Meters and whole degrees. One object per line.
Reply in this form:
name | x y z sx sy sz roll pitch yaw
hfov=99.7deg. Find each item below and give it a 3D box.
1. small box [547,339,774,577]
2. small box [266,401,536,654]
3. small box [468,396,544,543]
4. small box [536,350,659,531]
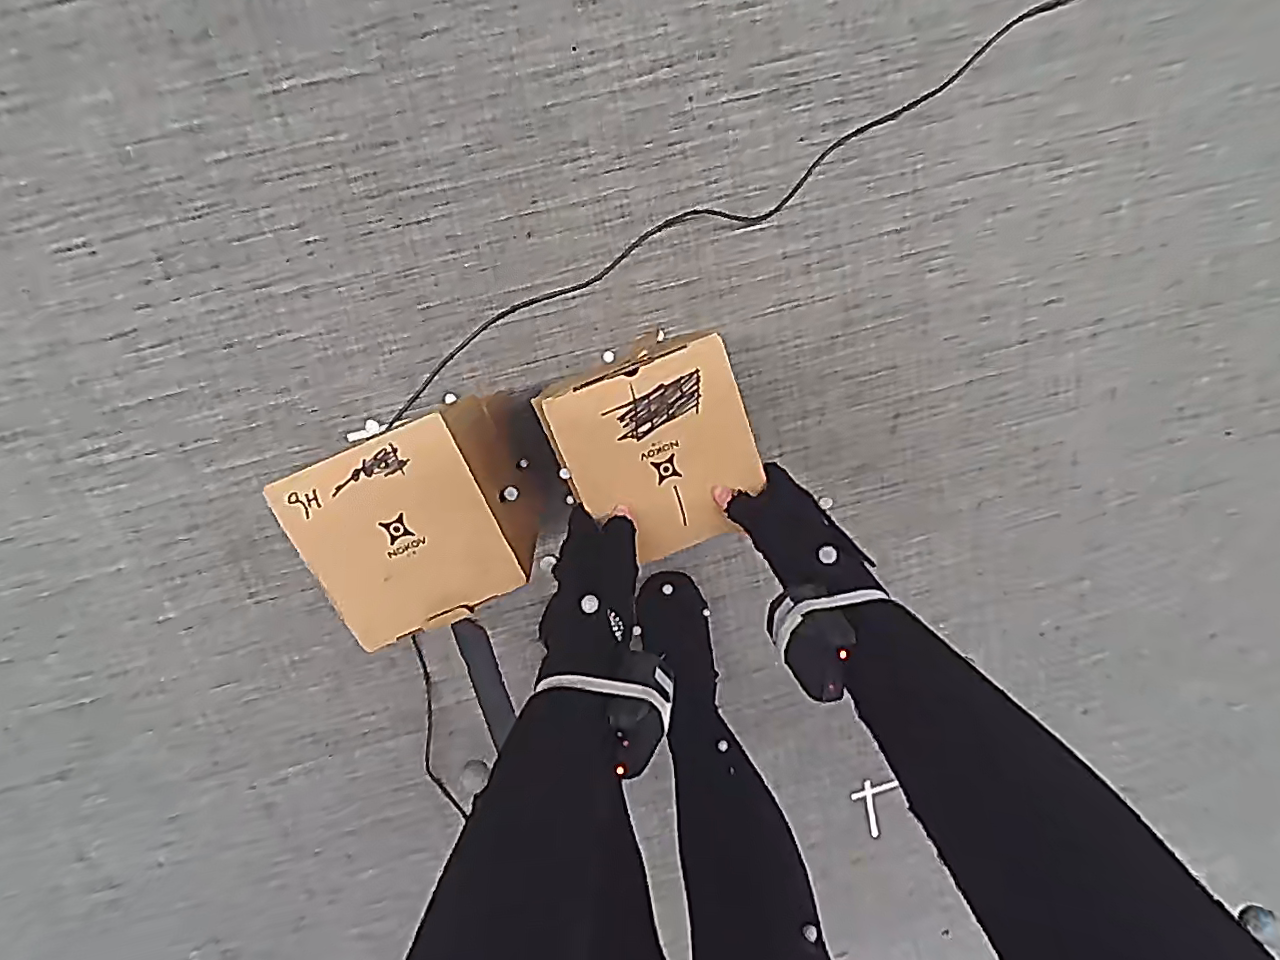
small box | 0.014 -0.034 0.559 0.168 0.176 0.179 -21 106 0
small box | -0.217 0.035 0.552 0.168 0.176 0.179 -23 106 -1
small box | -0.234 0.001 0.713 0.168 0.176 0.179 -19 105 -2
small box | -0.025 -0.061 0.719 0.168 0.176 0.179 -23 106 0
